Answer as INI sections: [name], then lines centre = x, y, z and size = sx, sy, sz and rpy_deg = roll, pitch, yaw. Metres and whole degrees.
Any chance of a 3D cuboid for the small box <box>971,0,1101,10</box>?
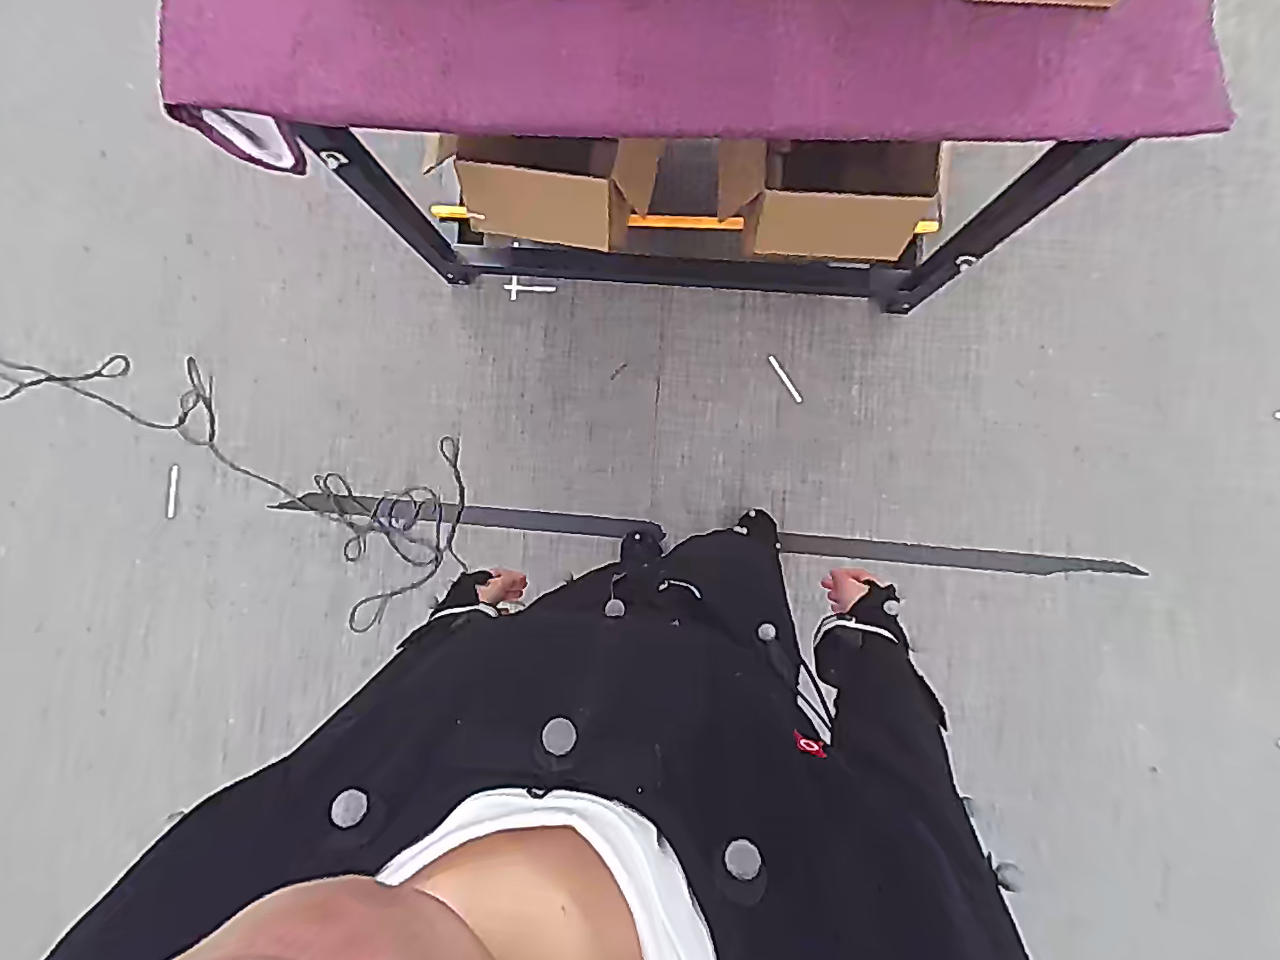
[small box]
centre = 0.482, -0.653, 0.575
size = 0.179, 0.176, 0.168
rpy_deg = 5, 87, 2
